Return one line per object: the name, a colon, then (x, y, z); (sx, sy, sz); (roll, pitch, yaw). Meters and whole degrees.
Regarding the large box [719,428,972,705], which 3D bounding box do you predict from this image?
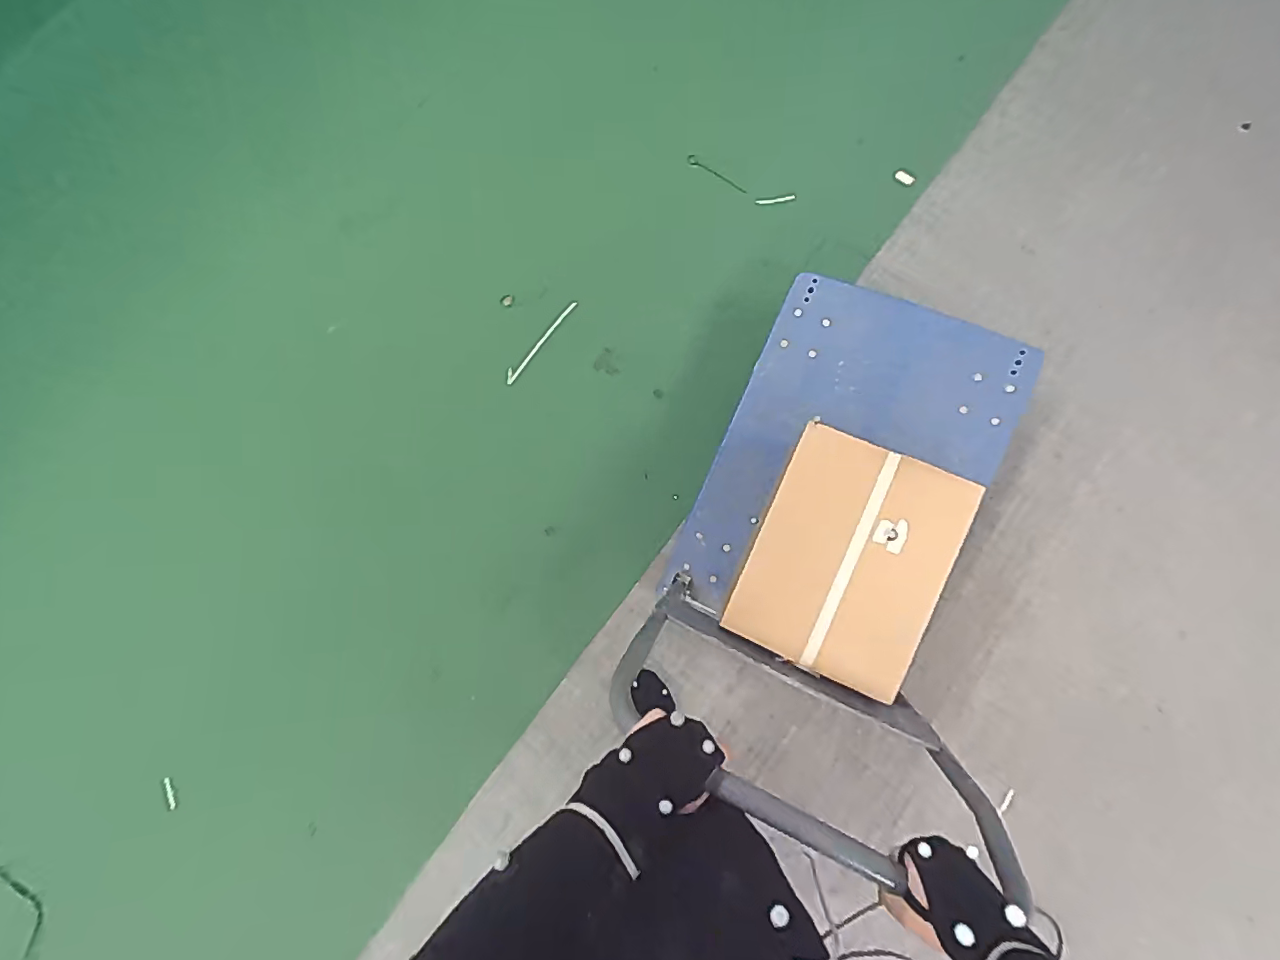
large box: (0.378, 0.159, 1.090); (0.320, 0.320, 0.408); (24, 89, 10)
